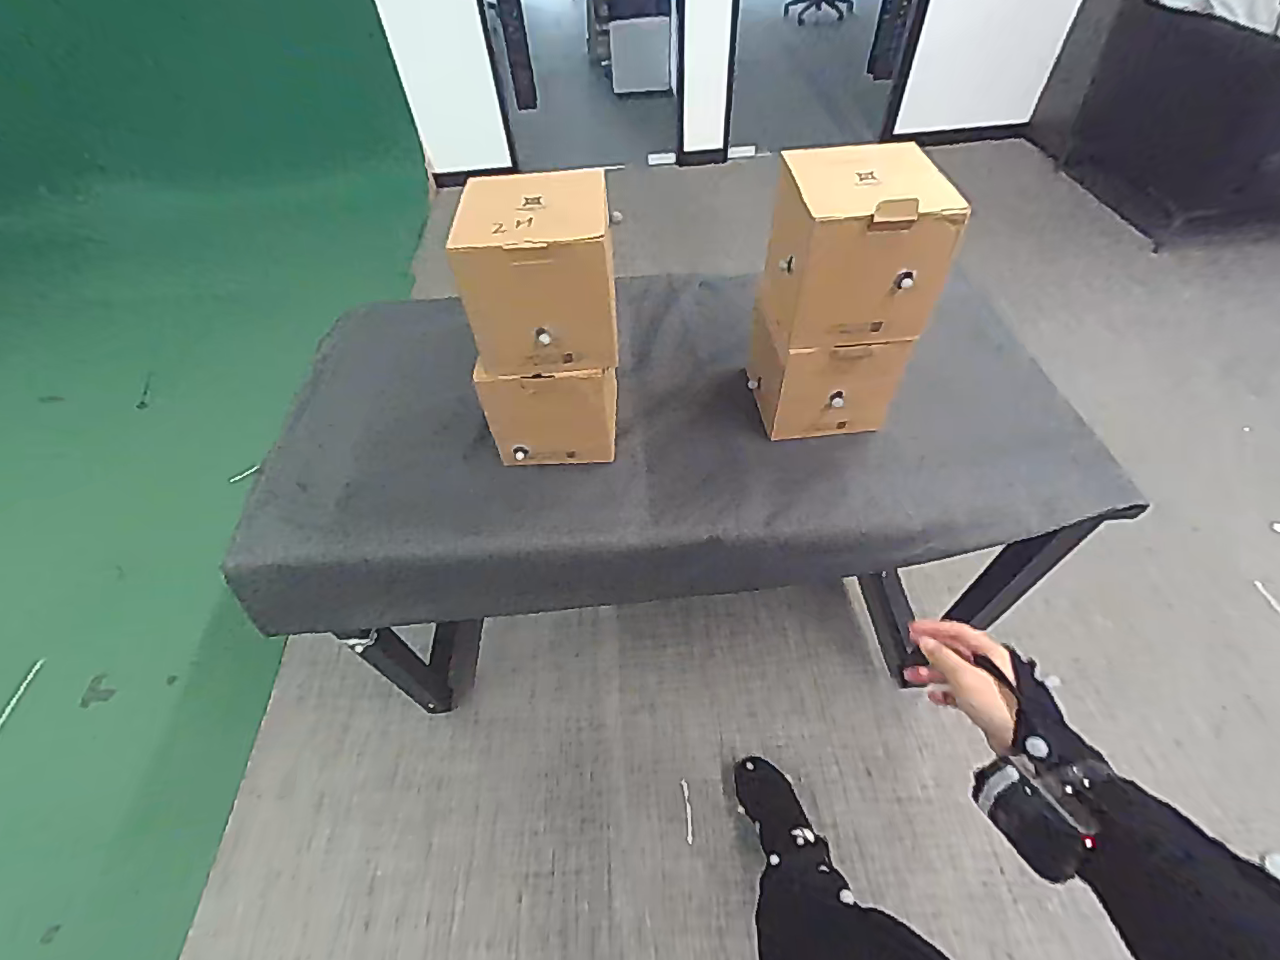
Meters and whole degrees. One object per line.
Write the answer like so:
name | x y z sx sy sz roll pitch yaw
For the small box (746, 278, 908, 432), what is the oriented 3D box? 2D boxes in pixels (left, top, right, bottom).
small box | 0.259 -0.184 0.800 0.168 0.176 0.179 -6 52 -1

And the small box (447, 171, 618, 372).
small box | -0.117 -0.255 0.668 0.168 0.176 0.179 -4 51 1

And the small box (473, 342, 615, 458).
small box | -0.125 -0.145 0.791 0.168 0.176 0.179 -1 50 2

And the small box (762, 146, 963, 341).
small box | 0.256 -0.287 0.673 0.168 0.176 0.179 -3 50 0
